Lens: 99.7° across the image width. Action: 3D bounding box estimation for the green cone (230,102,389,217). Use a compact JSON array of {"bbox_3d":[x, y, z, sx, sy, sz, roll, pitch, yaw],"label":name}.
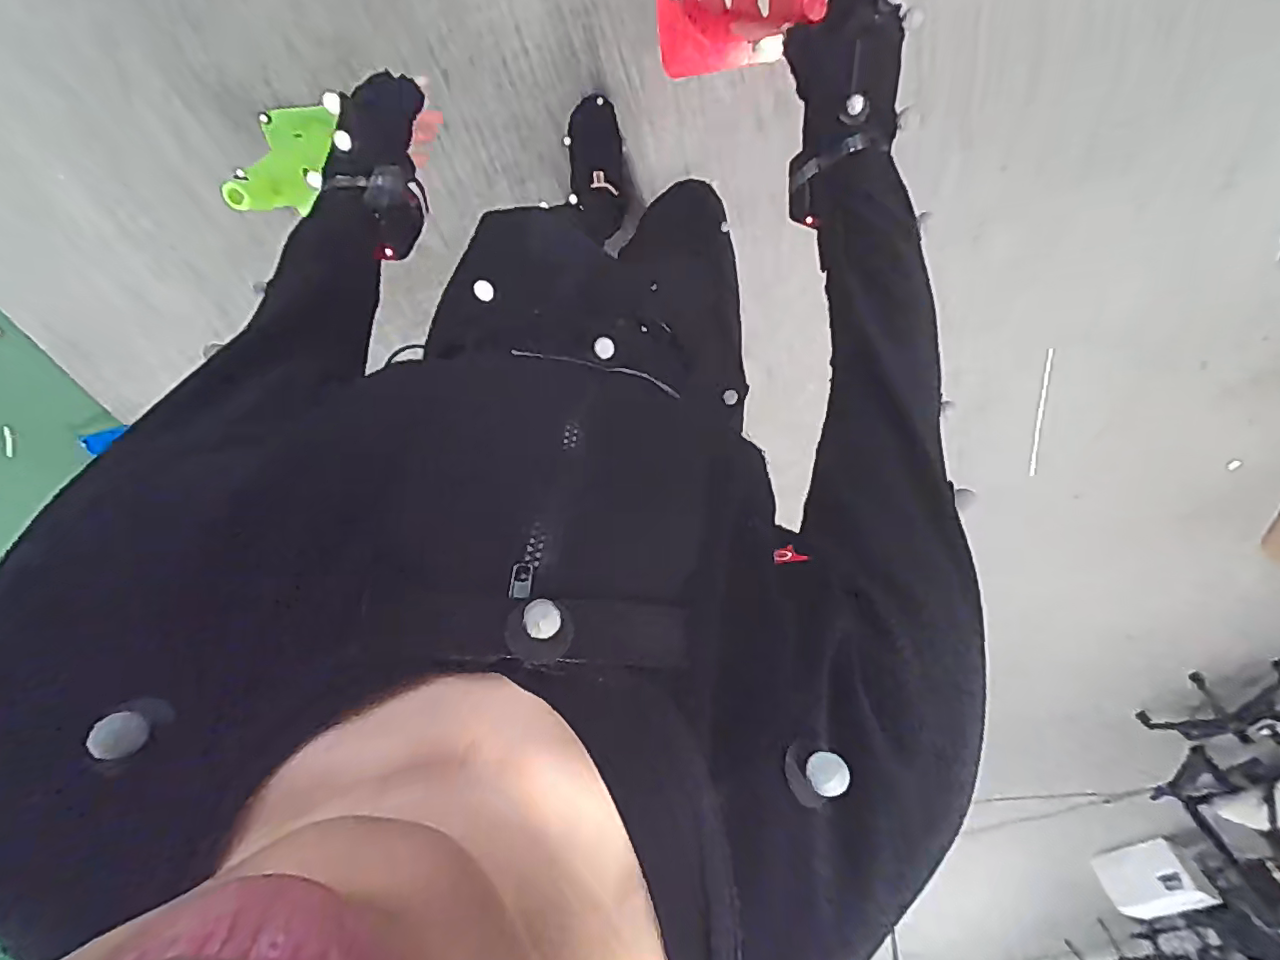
[{"bbox_3d":[-0.651,-0.570,1.011,0.202,0.368,0.200,-6,128,1],"label":"green cone"}]
